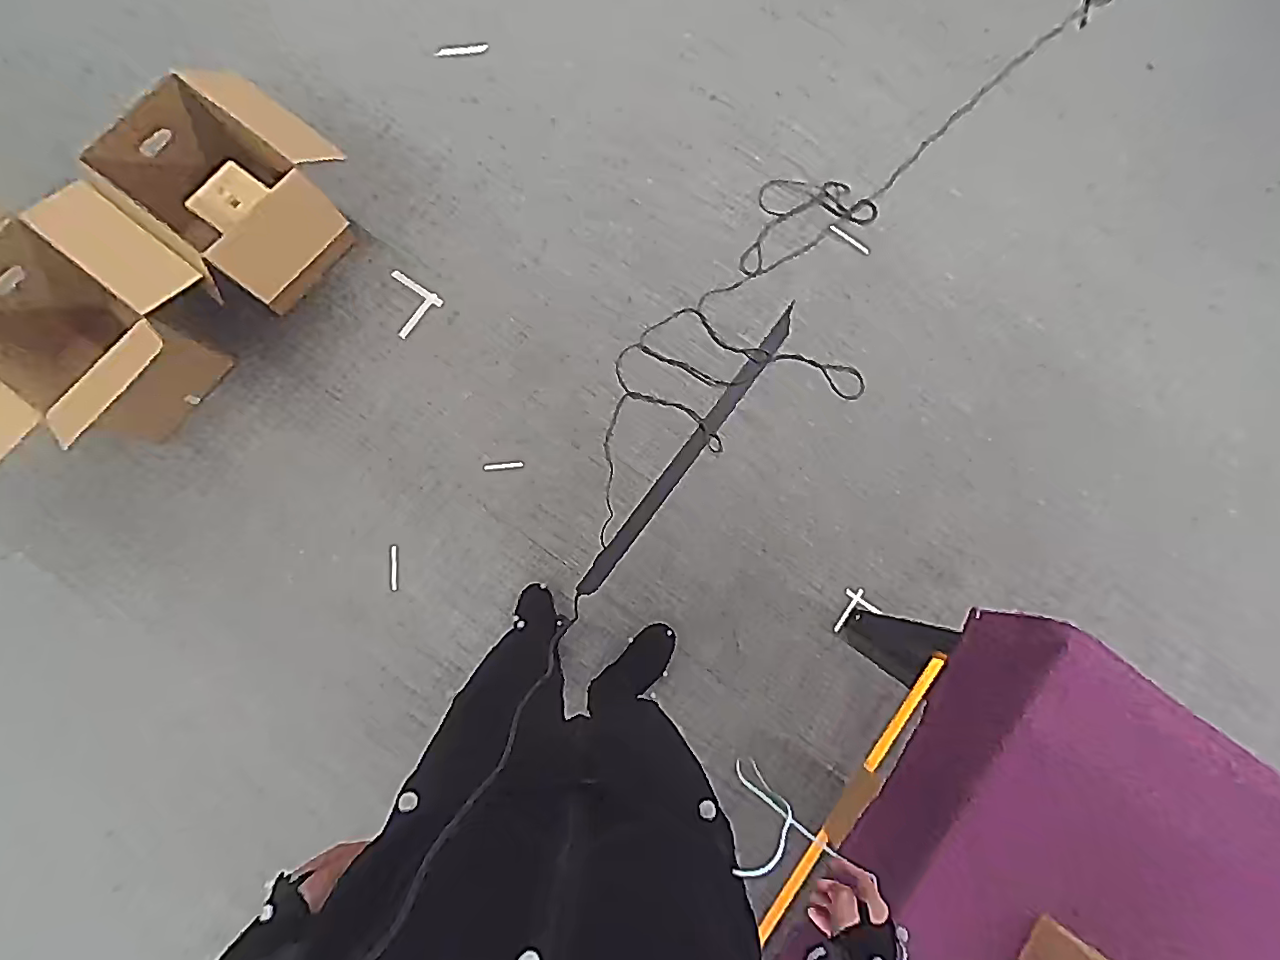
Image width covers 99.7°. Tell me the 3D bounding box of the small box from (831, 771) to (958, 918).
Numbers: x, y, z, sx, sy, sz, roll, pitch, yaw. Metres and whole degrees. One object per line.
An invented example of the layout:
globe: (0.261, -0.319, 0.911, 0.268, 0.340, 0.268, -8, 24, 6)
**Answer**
small box: (0.551, 0.797, 1.202, 0.168, 0.176, 0.179, 35, 83, 3)
